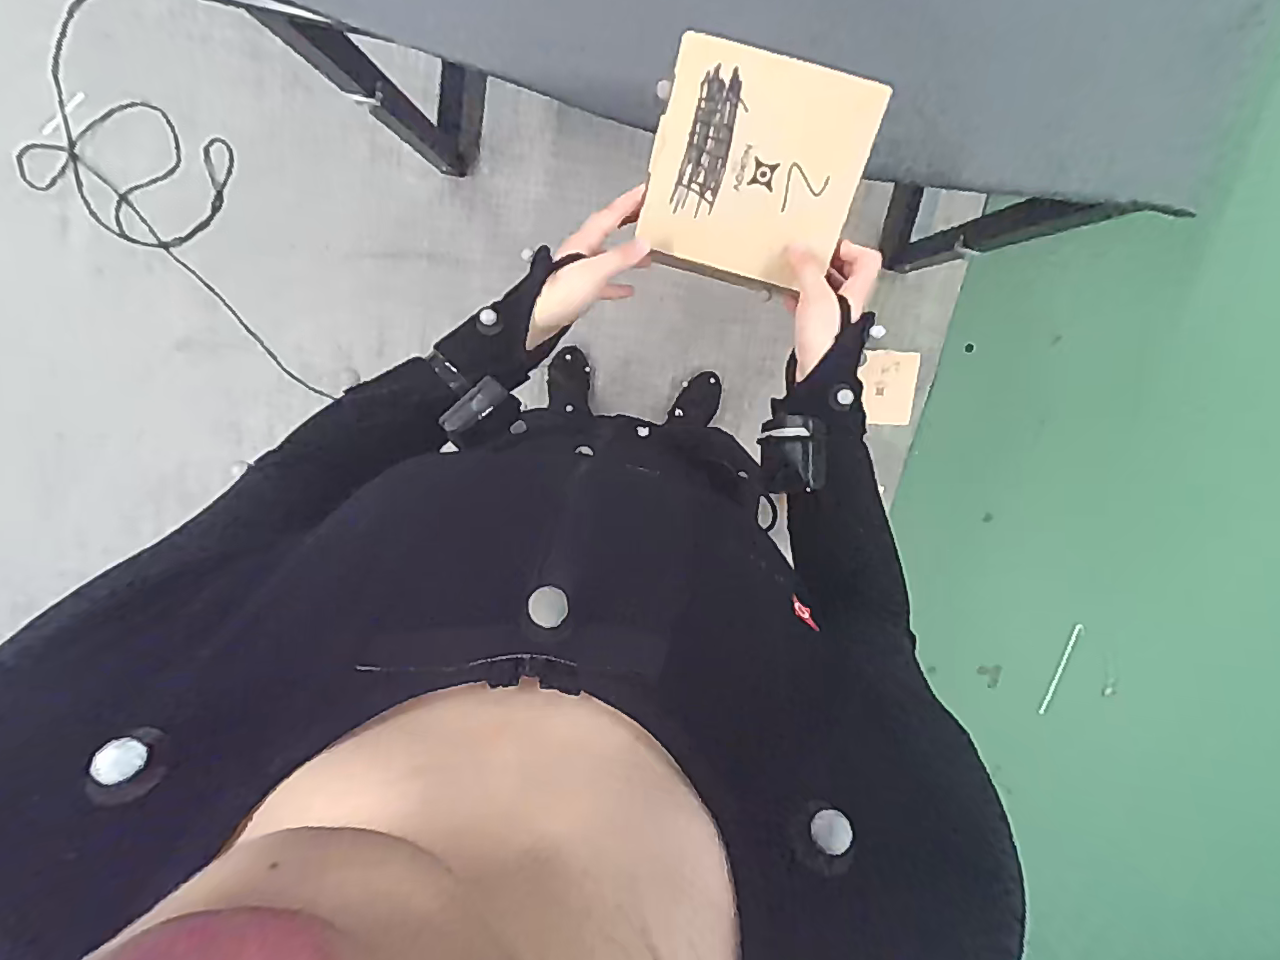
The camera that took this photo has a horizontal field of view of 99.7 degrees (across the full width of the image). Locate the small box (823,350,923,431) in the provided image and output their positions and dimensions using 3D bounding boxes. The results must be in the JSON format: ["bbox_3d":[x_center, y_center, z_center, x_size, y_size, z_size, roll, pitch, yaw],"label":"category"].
[{"bbox_3d":[0.570,-0.227,1.347,0.168,0.176,0.179,3,104,-1],"label":"small box"}]

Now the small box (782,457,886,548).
[{"bbox_3d":[0.499,0.052,1.419,0.179,0.176,0.168,20,104,-4],"label":"small box"}]
